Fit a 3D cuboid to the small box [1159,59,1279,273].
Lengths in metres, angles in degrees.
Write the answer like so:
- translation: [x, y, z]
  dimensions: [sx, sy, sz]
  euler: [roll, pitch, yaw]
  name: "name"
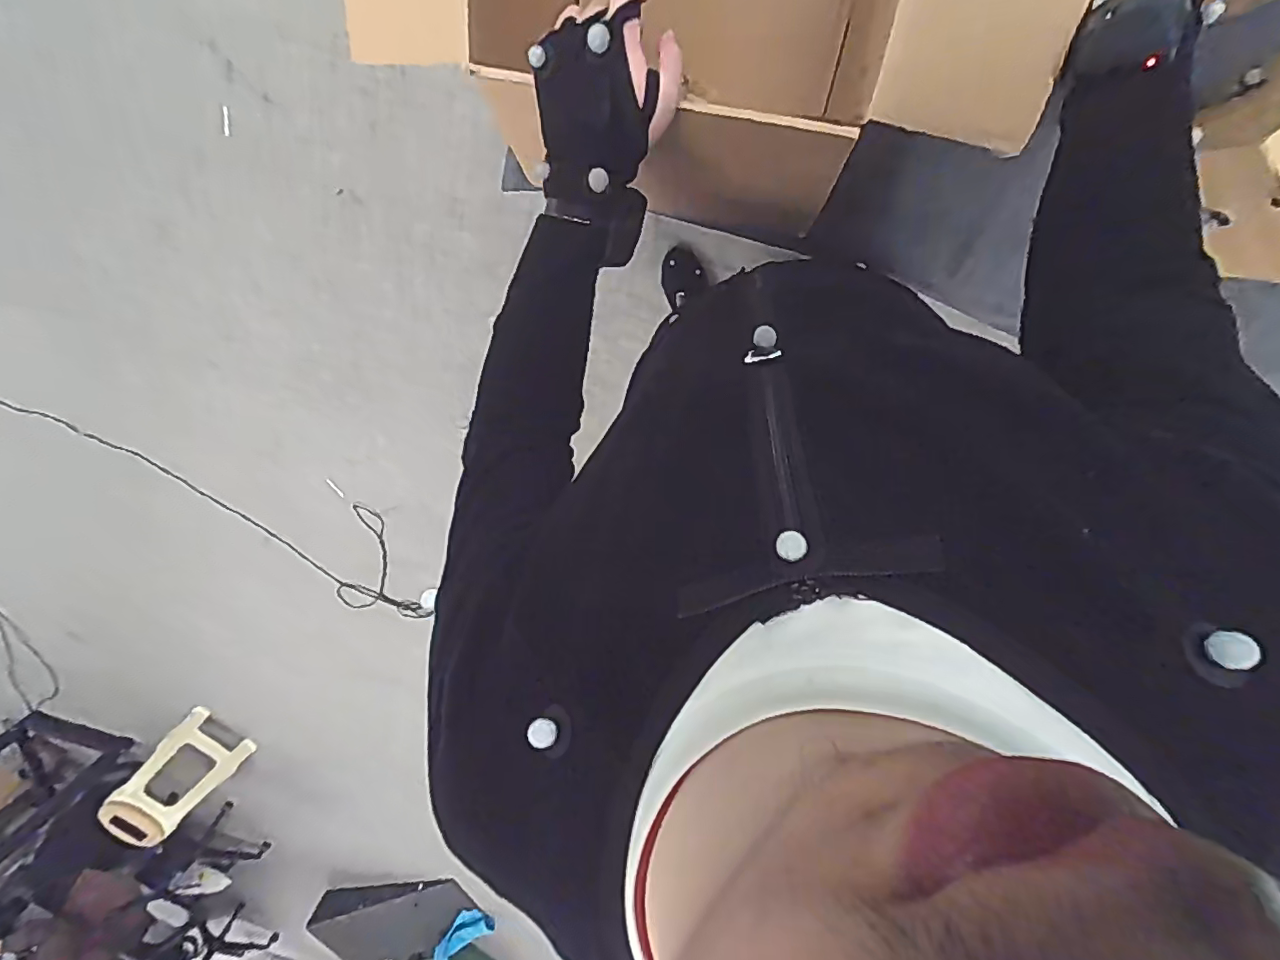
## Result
- translation: [0.666, -0.318, 0.523]
  dimensions: [0.179, 0.176, 0.168]
  euler: [-36, 105, 25]
  name: "small box"
